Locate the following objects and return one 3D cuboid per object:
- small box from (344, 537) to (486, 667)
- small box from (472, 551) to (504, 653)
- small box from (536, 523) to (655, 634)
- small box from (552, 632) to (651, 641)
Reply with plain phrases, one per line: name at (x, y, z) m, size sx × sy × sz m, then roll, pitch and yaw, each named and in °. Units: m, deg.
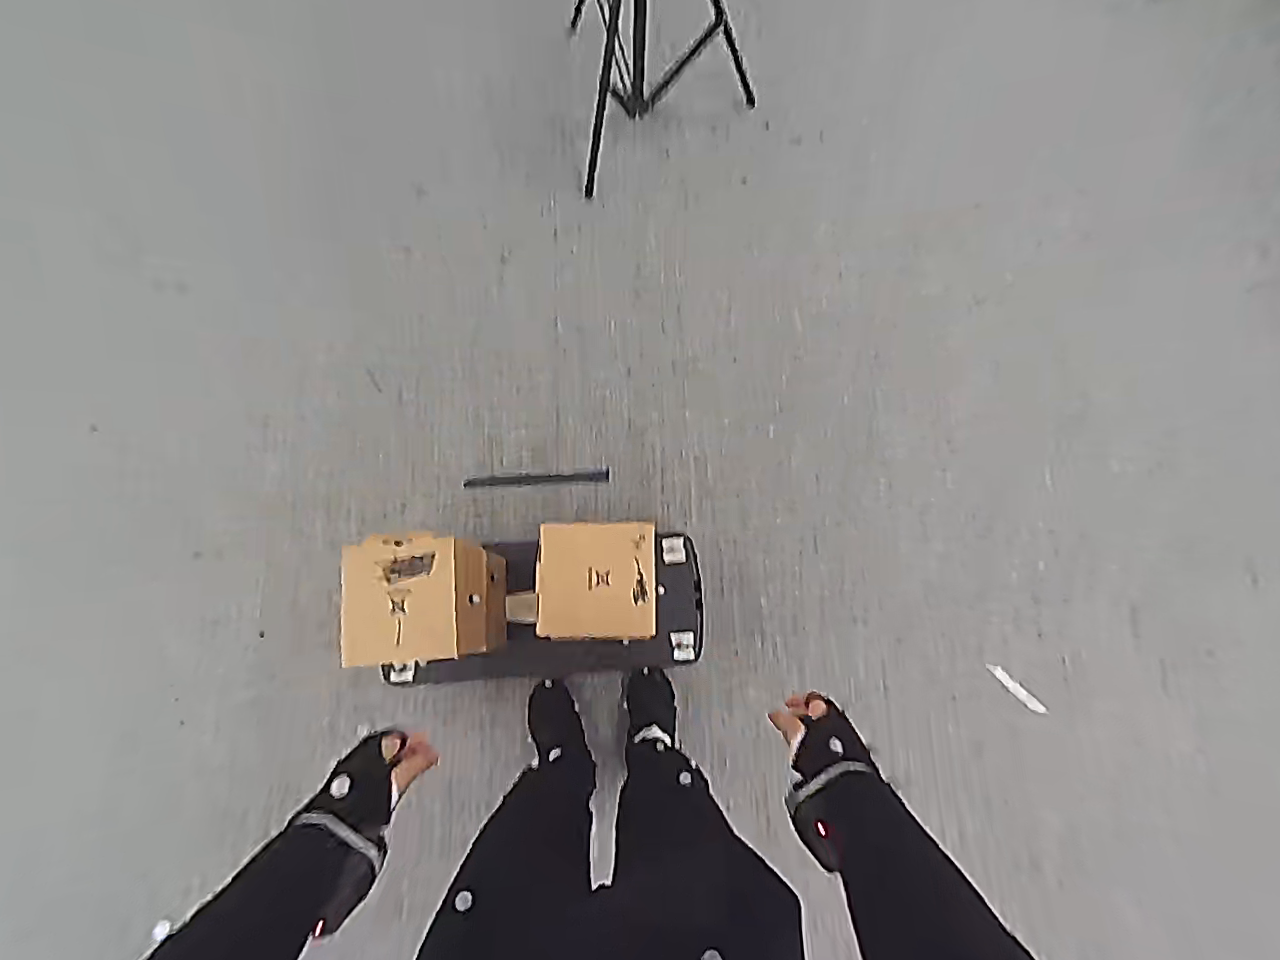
small box at (-0.348, 0.194, 0.865) m, size 0.168 × 0.176 × 0.179 m, roll -5°, pitch 78°, yaw -3°
small box at (-0.351, 0.234, 1.024) m, size 0.168 × 0.176 × 0.179 m, roll -4°, pitch 78°, yaw -2°
small box at (-0.064, 0.164, 0.883) m, size 0.179 × 0.176 × 0.168 m, roll 0°, pitch 77°, yaw -1°
small box at (-0.070, 0.217, 1.039) m, size 0.179 × 0.176 × 0.168 m, roll -2°, pitch 77°, yaw 0°
